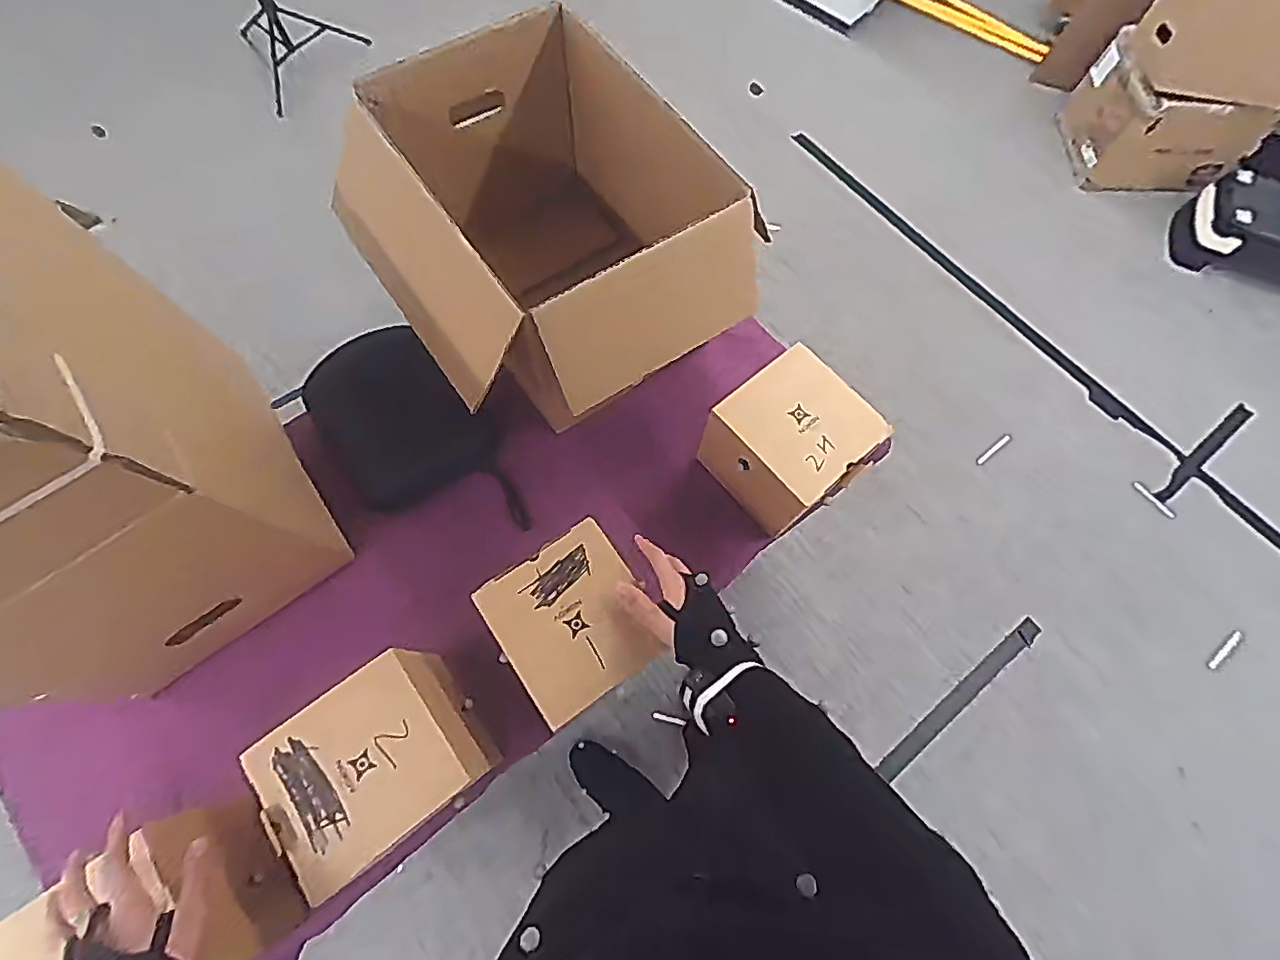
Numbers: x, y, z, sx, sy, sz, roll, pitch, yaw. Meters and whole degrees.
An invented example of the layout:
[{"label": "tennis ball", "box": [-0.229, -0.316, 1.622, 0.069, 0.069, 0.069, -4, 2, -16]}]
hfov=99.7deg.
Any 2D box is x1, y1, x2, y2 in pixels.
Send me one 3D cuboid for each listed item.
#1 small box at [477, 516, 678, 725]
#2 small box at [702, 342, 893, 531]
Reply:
[{"label": "small box", "box": [-0.076, 0.177, 0.681, 0.168, 0.176, 0.179, -33, 76, -13]}, {"label": "small box", "box": [0.207, -0.052, 0.769, 0.168, 0.176, 0.179, -38, 76, -13]}]
